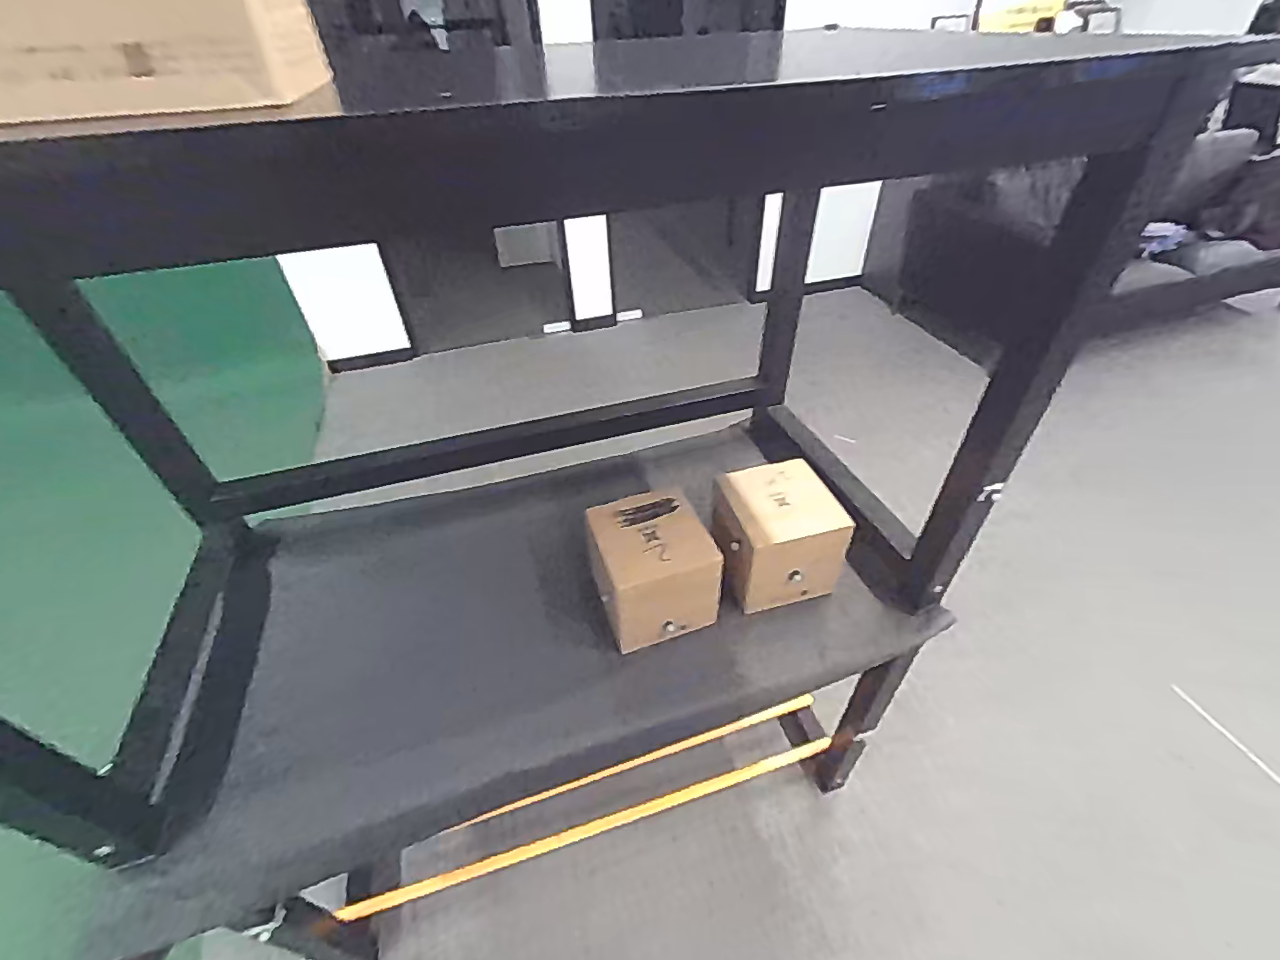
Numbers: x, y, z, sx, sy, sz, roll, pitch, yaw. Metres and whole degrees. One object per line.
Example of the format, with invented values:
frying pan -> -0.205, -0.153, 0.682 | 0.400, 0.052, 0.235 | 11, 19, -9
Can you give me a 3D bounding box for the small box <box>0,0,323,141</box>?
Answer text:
small box -> -0.305, -0.300, 0.302 | 0.168, 0.176, 0.179 | -13, 41, -11
